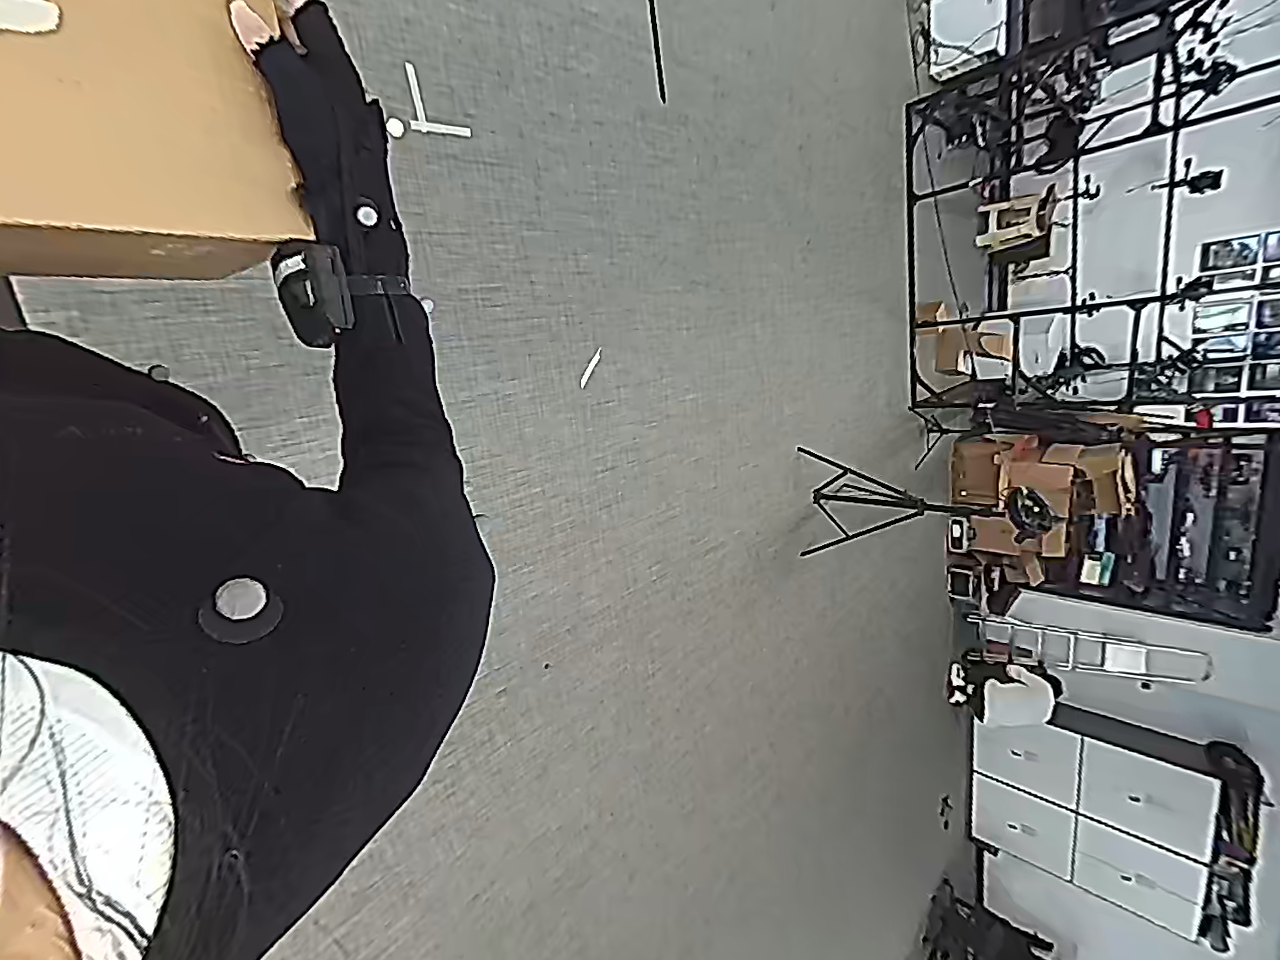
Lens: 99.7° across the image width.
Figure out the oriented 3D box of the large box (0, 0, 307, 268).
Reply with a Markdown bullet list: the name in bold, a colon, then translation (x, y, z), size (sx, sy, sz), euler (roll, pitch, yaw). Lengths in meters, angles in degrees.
- **large box**: translation (-0.495, -0.303, 0.314), size (0.408, 0.320, 0.320), euler (-20, 115, -45)
